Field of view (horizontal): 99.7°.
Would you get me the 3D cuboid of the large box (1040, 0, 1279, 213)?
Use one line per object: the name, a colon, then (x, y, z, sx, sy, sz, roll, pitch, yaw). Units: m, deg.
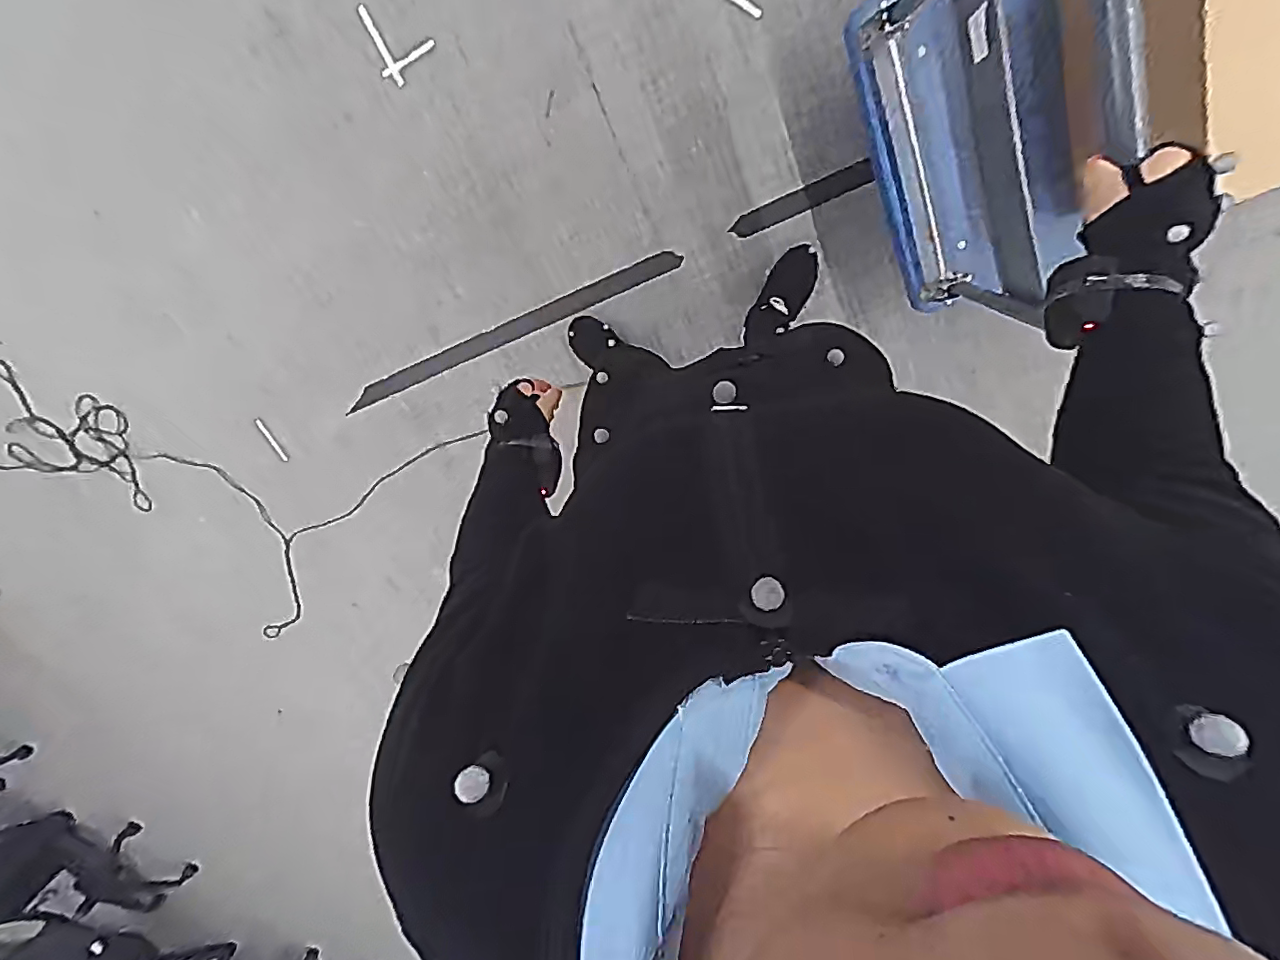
large box: (0.894, -0.685, 0.837, 0.320, 0.320, 0.408, -20, 111, 14)
